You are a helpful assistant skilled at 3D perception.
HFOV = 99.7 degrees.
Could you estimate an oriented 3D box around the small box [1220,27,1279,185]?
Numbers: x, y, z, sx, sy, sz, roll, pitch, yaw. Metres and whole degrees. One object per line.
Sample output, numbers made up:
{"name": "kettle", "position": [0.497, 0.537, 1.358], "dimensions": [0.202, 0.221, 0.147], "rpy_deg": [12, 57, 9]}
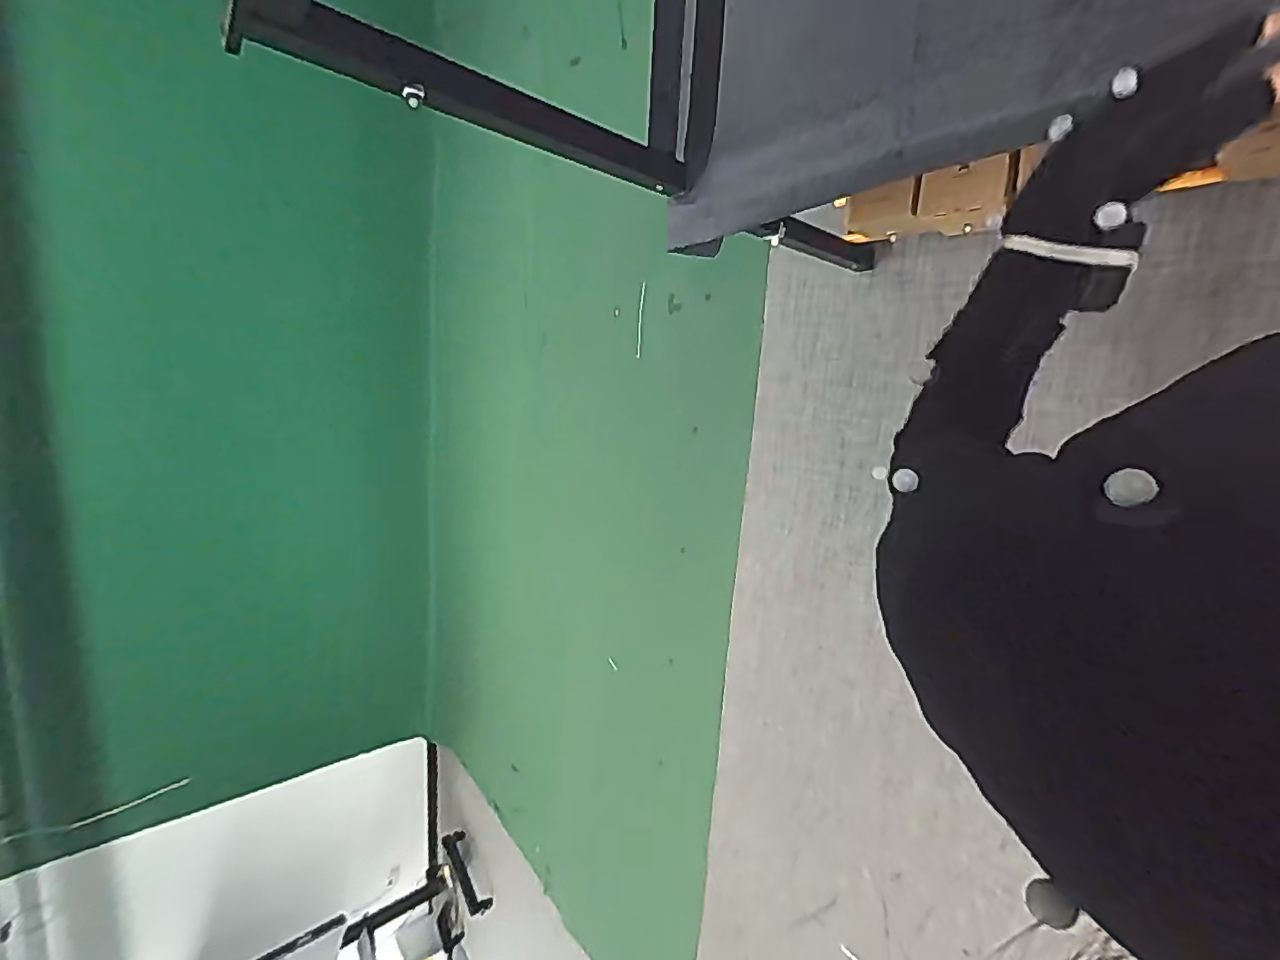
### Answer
{"name": "small box", "position": [1.038, -0.579, 0.827], "dimensions": [0.168, 0.176, 0.179], "rpy_deg": [21, 111, 48]}
